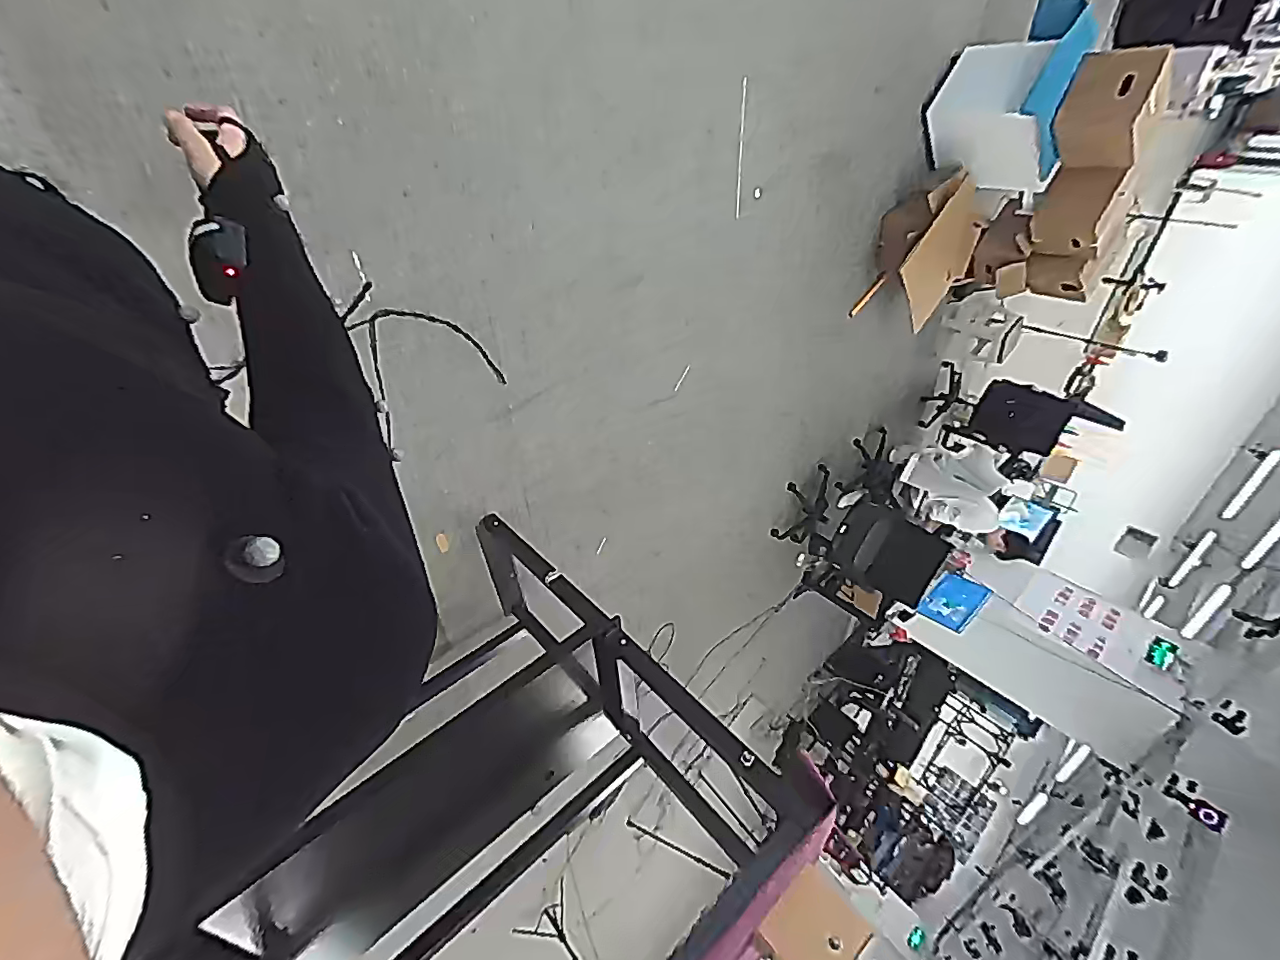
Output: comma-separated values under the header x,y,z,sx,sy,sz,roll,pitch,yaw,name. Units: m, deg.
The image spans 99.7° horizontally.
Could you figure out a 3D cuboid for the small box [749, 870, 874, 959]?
x,y,z,sx,sy,sz,roll,pitch,yaw,name
0.351,0.969,1.127,0.179,0.176,0.168,-31,135,-28,small box
